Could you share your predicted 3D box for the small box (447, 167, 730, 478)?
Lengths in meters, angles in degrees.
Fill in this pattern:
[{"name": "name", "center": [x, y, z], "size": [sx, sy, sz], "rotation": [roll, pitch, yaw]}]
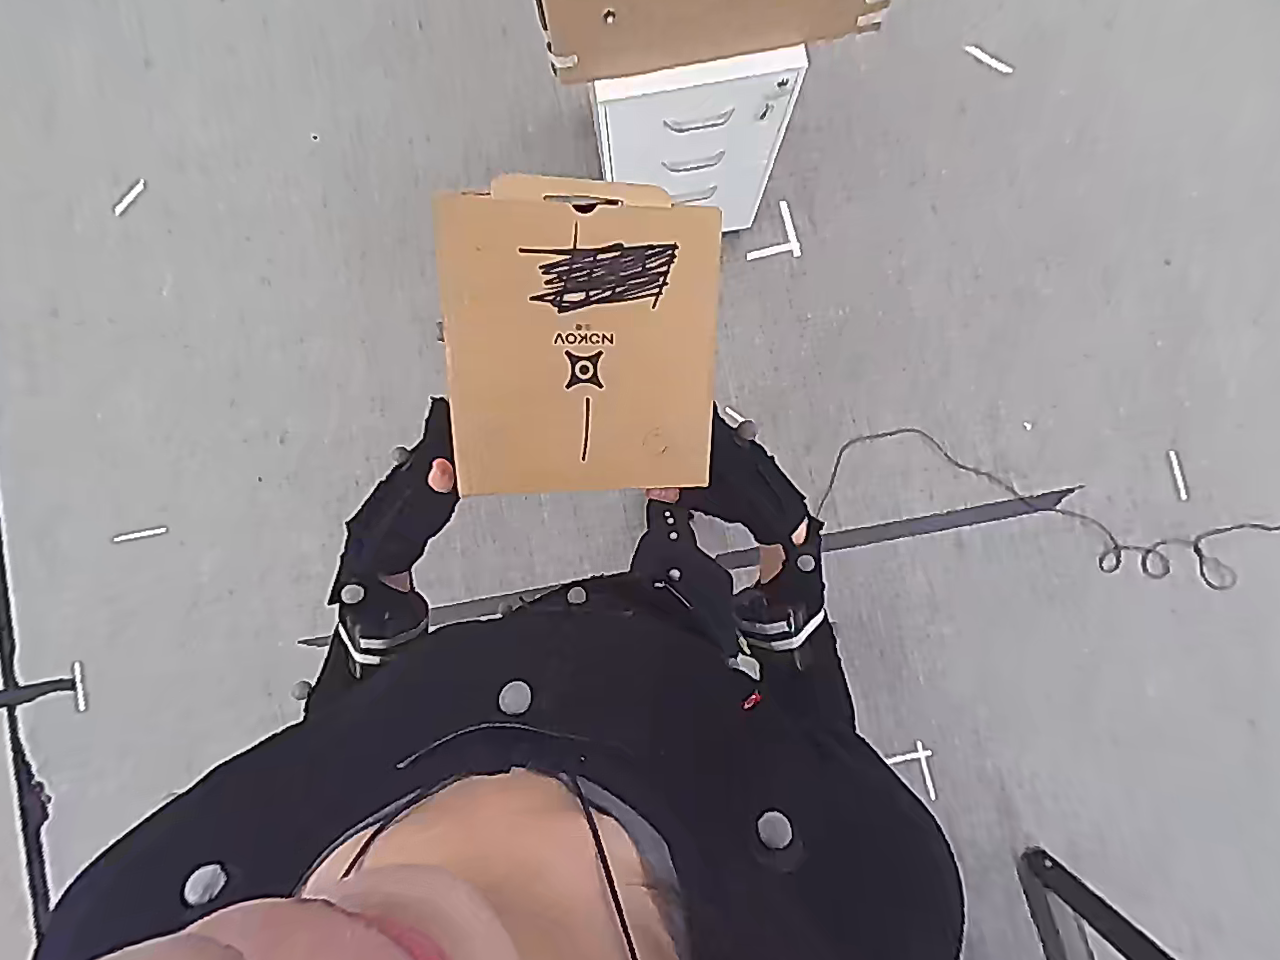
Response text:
[{"name": "small box", "center": [-0.042, -0.108, 0.402], "size": [0.168, 0.176, 0.179], "rotation": [-2, 106, -10]}]
